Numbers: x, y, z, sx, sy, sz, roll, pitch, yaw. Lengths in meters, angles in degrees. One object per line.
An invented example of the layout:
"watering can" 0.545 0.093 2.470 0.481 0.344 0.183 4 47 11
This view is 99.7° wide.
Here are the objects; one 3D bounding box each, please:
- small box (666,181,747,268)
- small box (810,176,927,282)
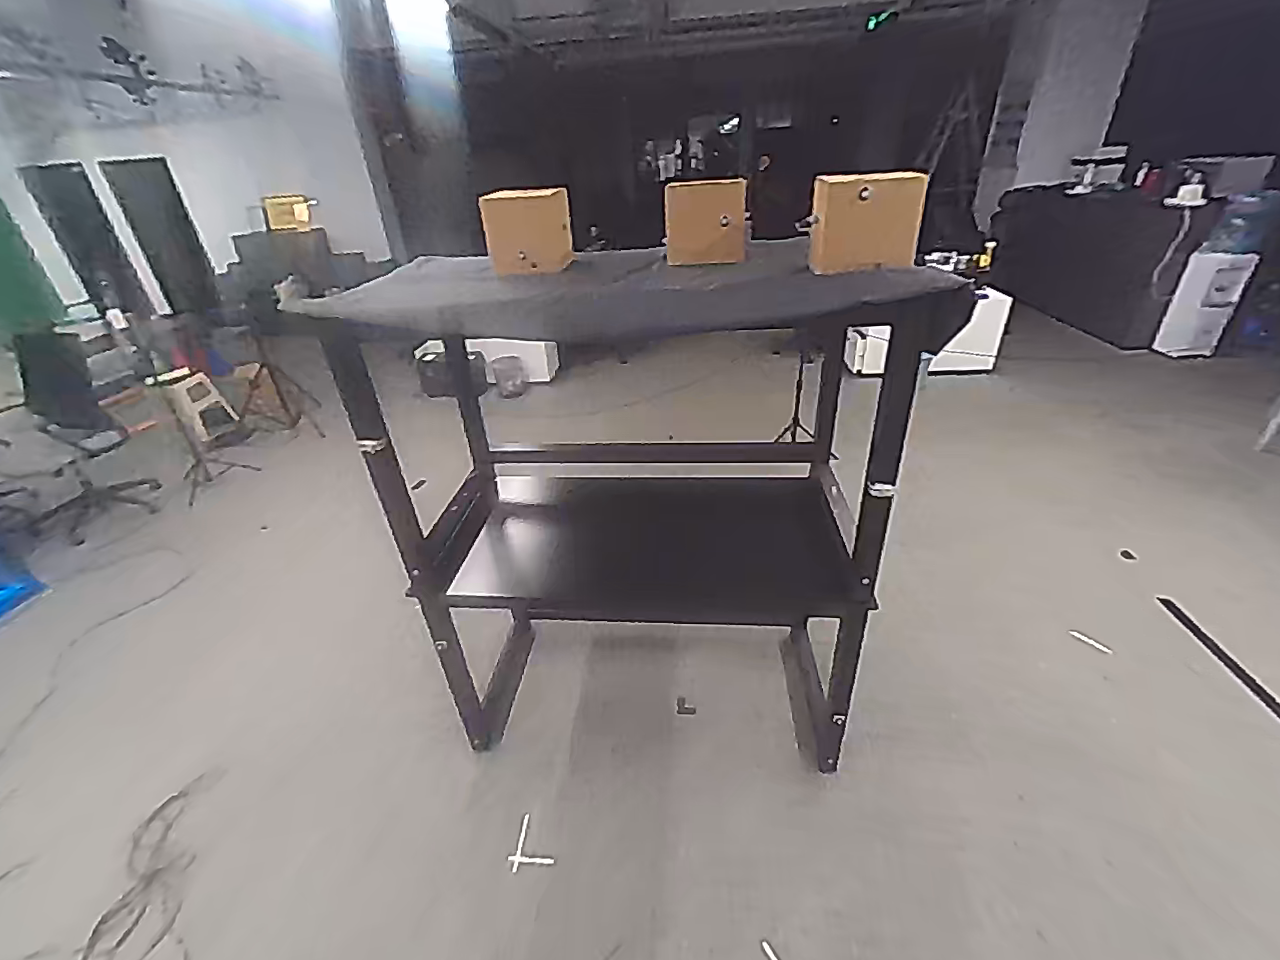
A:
"small box" 0.155 -0.604 1.277 0.179 0.176 0.168 1 30 8
"small box" 0.425 -0.483 1.039 0.168 0.176 0.179 1 30 10
